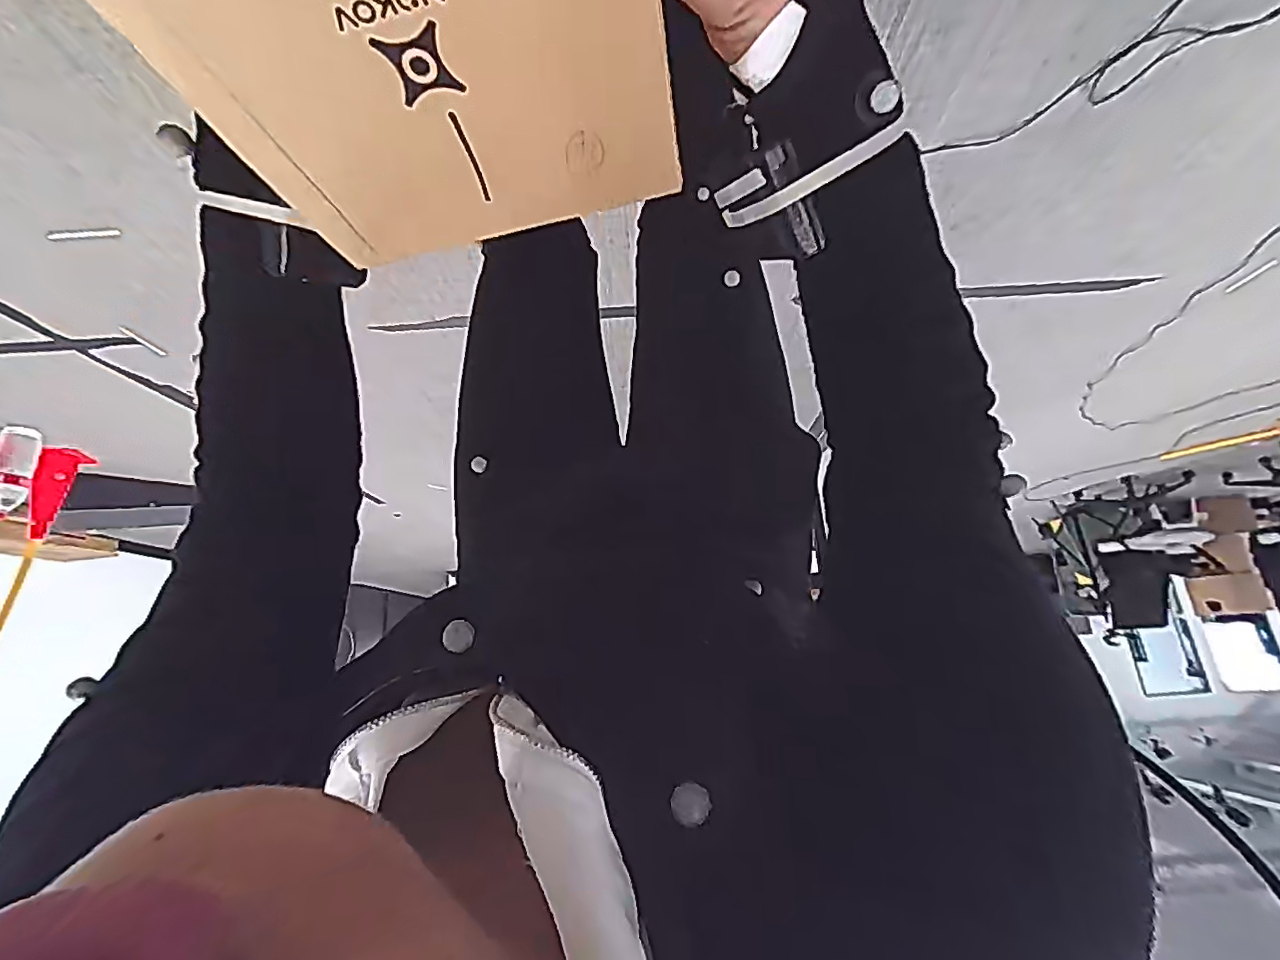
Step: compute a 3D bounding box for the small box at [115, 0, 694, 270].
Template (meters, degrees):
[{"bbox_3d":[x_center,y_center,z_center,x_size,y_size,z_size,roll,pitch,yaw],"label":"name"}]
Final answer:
[{"bbox_3d":[-0.078,-0.218,0.201,0.168,0.176,0.179,-10,160,6],"label":"small box"}]
